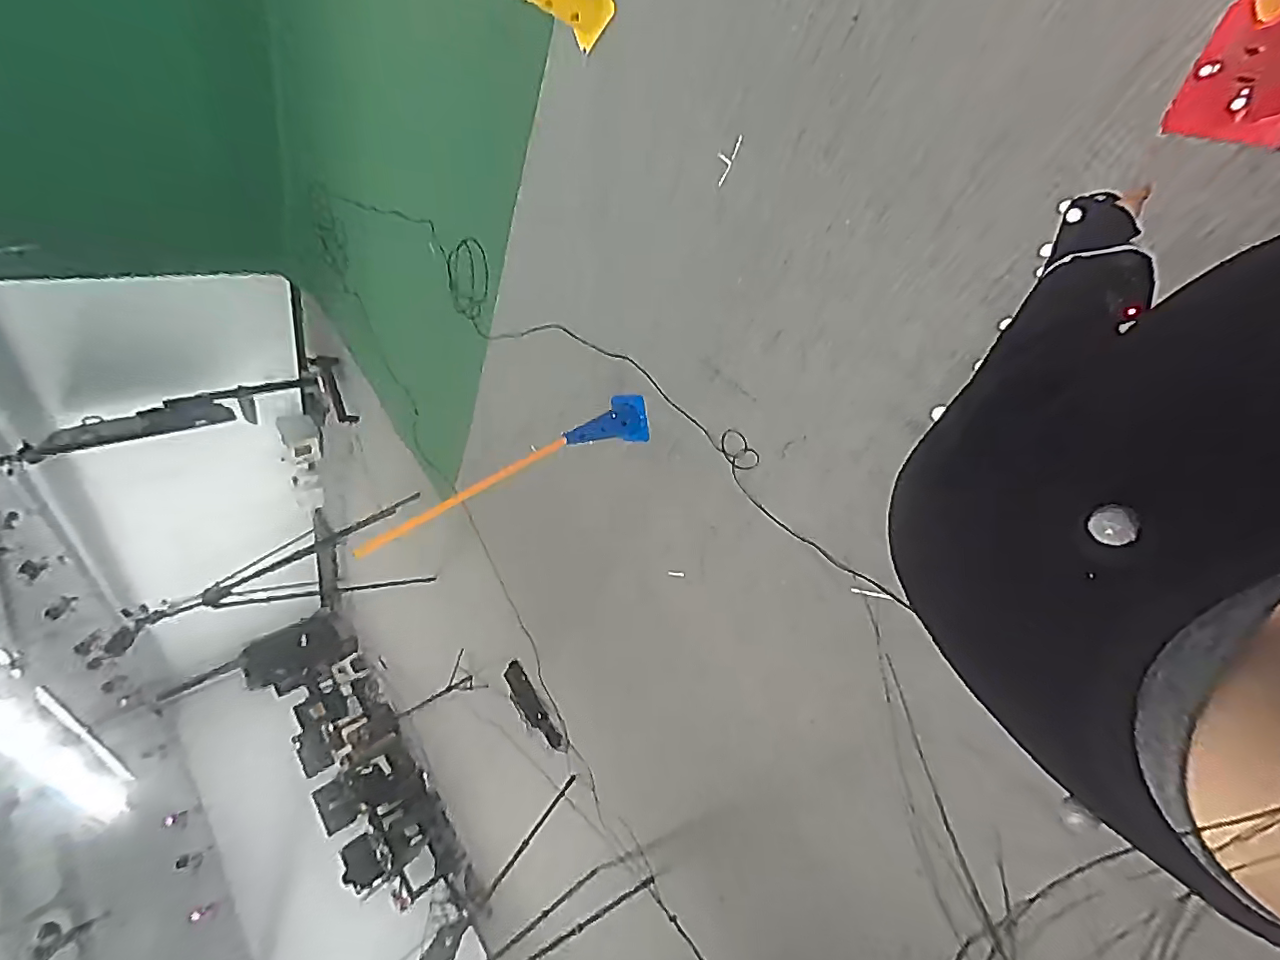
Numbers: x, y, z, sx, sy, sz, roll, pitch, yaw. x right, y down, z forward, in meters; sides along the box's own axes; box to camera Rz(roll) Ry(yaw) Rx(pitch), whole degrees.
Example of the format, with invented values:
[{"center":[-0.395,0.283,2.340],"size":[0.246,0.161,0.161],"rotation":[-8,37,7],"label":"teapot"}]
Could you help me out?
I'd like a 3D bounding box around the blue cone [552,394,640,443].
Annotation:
[{"center":[-0.189,-0.216,2.175],"size":[0.192,0.380,0.193],"rotation":[5,112,45],"label":"blue cone"}]
